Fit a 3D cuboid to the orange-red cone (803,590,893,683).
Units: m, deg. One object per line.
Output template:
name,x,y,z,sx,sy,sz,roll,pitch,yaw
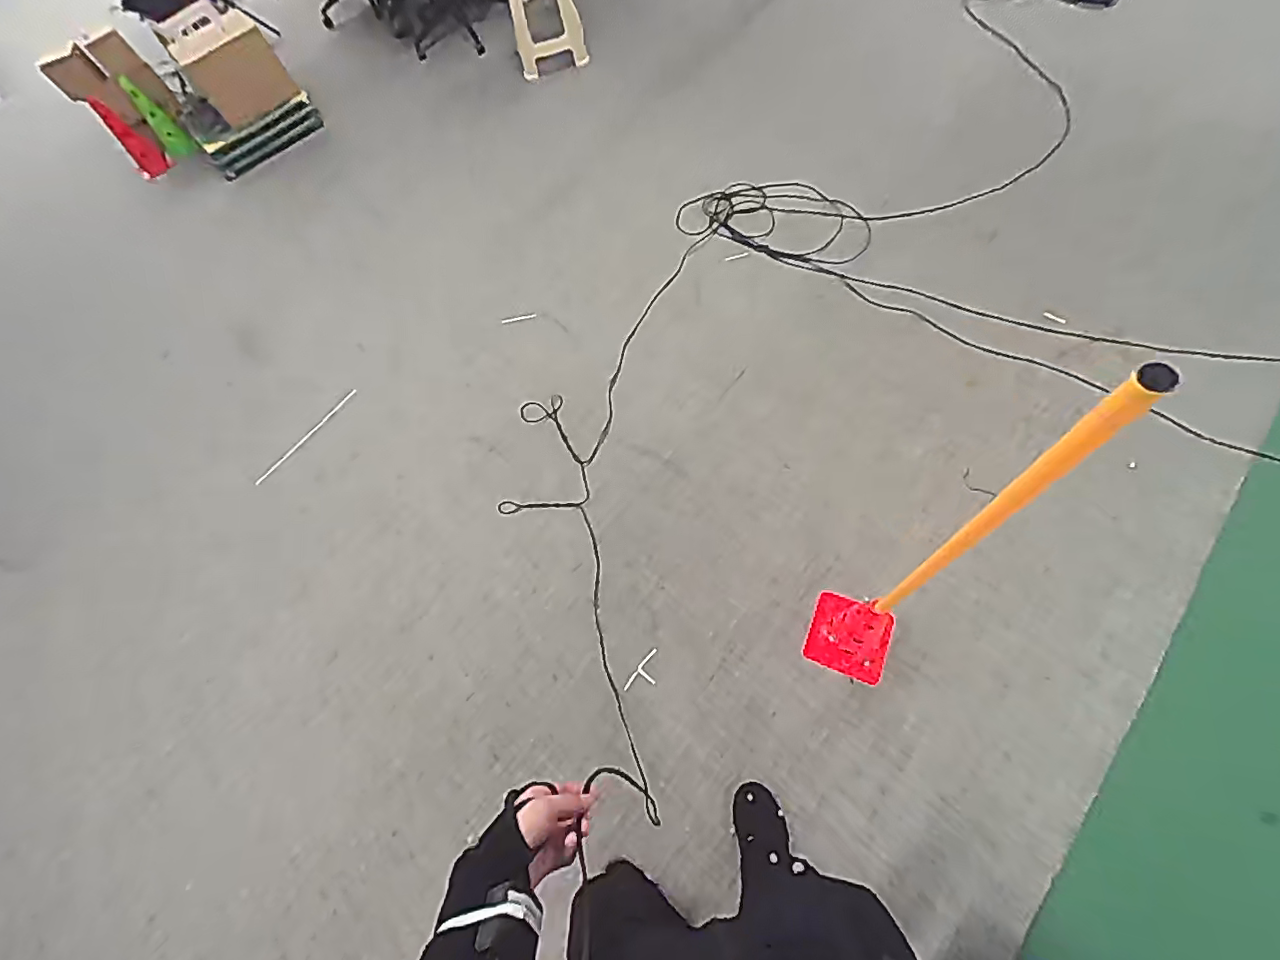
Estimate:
orange-red cone,0.532,0.338,1.287,0.198,0.360,0.199,20,69,17
